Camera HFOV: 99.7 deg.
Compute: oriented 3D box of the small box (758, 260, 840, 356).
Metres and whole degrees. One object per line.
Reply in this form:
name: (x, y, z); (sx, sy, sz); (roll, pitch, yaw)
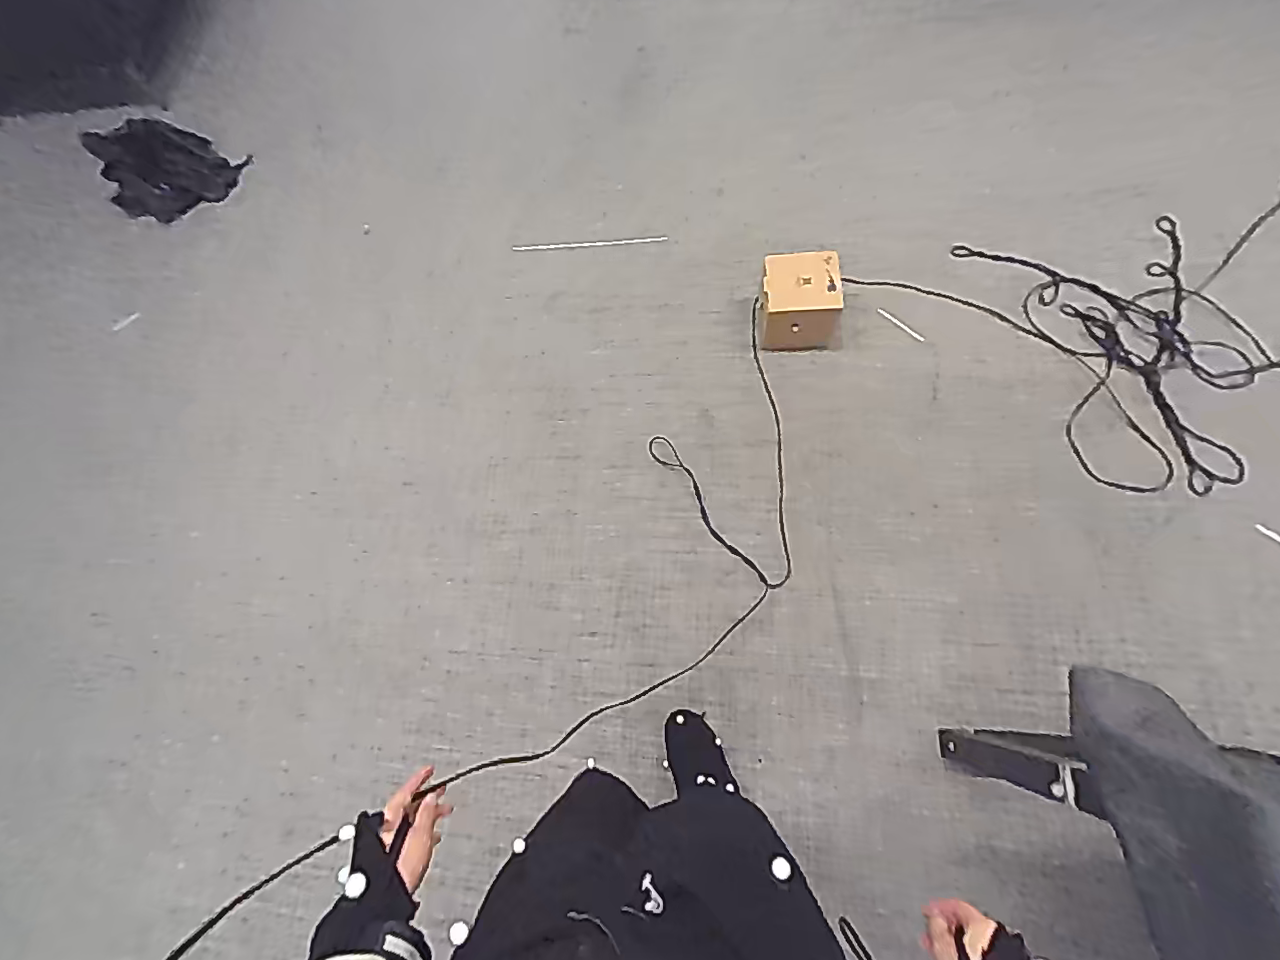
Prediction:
small box: (0.395, -0.429, 1.372); (0.179, 0.176, 0.168); (-2, 71, 7)
